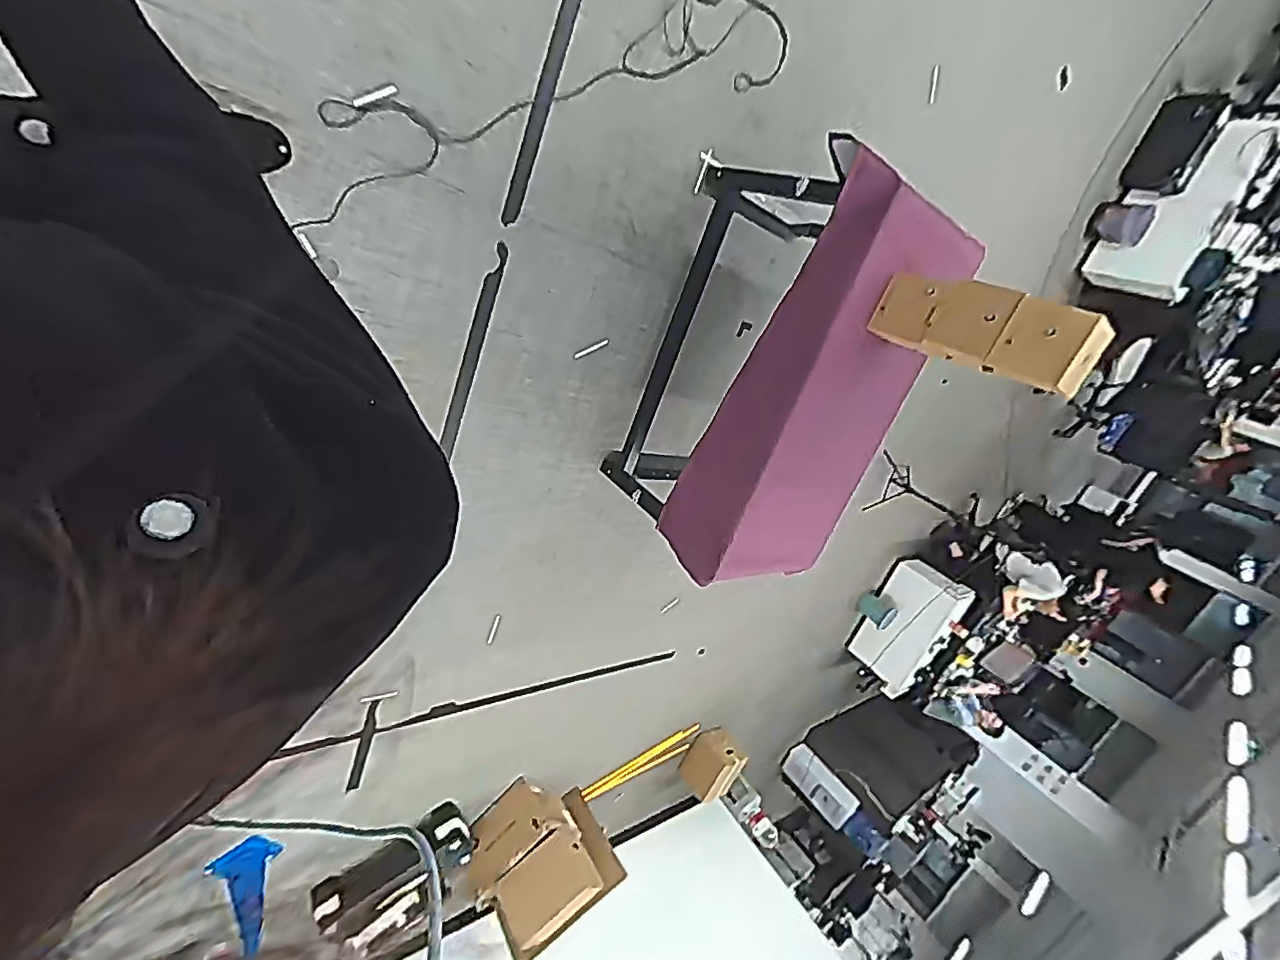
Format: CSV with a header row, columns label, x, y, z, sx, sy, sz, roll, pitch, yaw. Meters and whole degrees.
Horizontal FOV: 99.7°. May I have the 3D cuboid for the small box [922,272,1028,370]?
label,x,y,z,sx,sy,sz,roll,pitch,yaw
small box,0.871,-0.413,1.395,0.168,0.176,0.179,12,110,-45

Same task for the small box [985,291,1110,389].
label,x,y,z,sx,sy,sz,roll,pitch,yaw
small box,0.962,-0.335,1.285,0.179,0.176,0.168,3,116,-43
